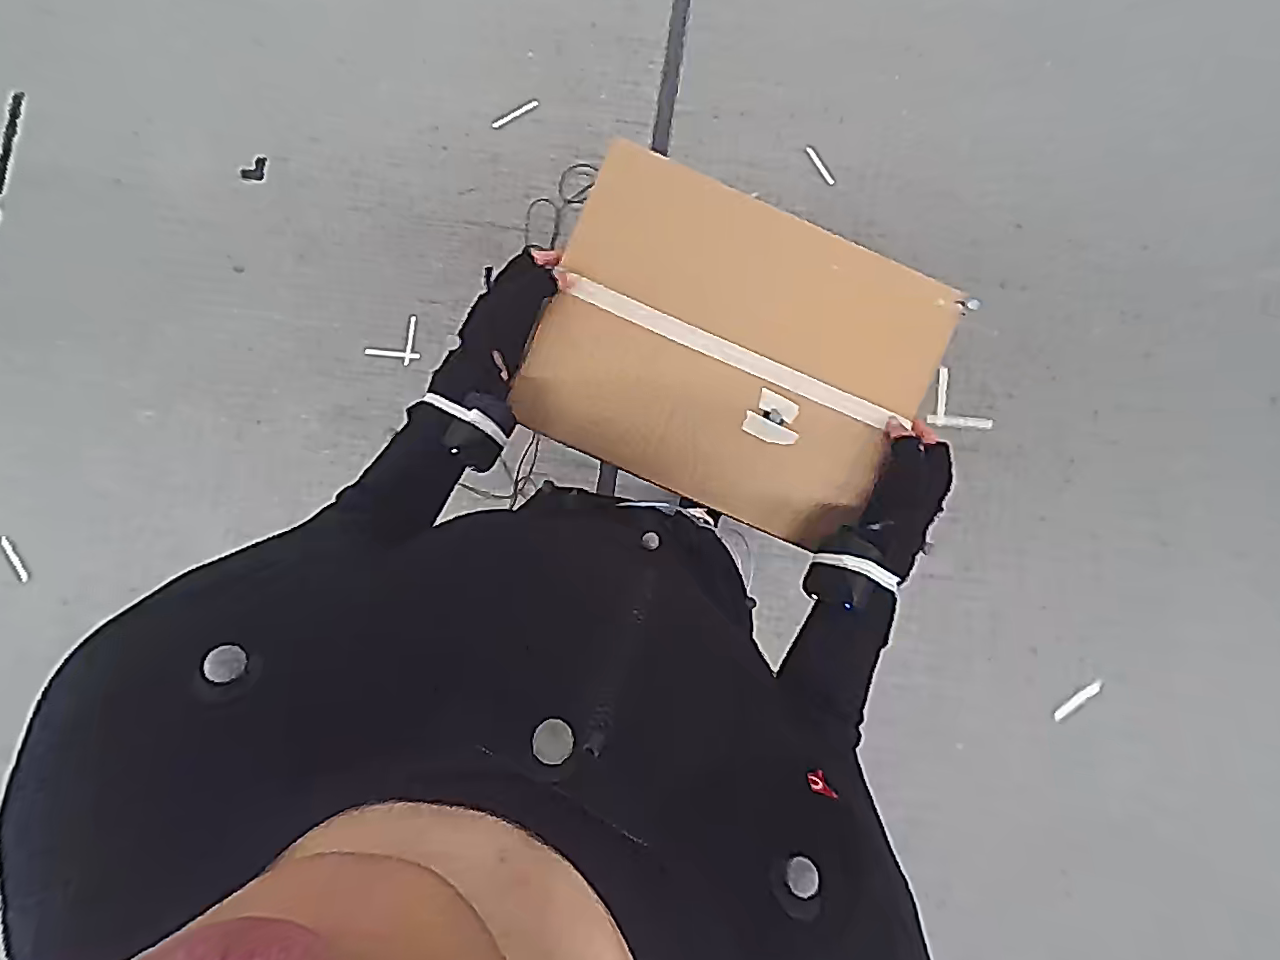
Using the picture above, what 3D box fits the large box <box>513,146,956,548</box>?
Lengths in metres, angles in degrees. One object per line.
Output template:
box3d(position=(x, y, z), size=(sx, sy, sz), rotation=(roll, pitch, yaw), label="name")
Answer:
box3d(position=(0.098, -0.146, 0.729), size=(0.408, 0.320, 0.320), rotation=(24, 93, -2), label="large box")
